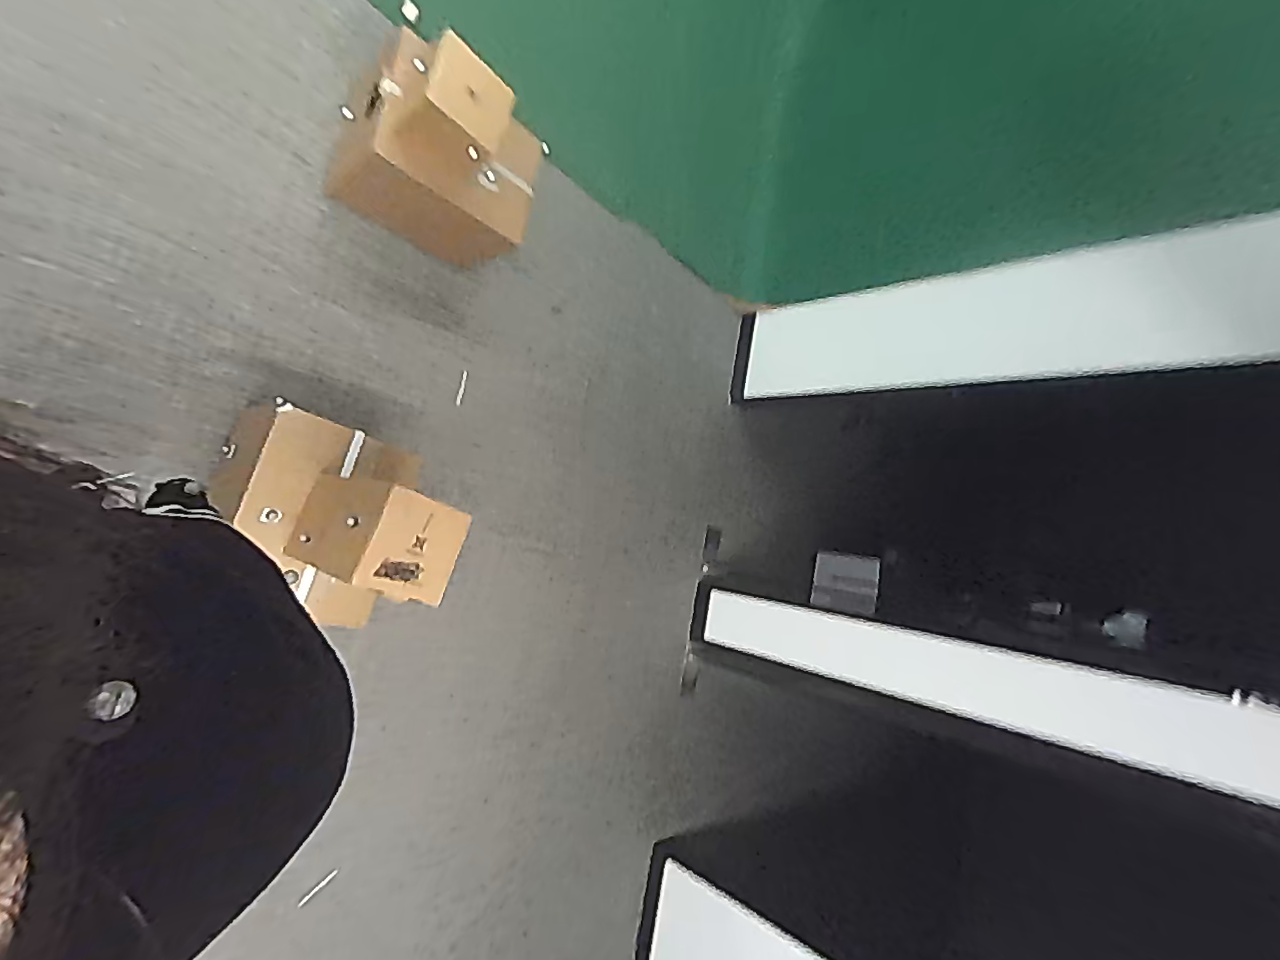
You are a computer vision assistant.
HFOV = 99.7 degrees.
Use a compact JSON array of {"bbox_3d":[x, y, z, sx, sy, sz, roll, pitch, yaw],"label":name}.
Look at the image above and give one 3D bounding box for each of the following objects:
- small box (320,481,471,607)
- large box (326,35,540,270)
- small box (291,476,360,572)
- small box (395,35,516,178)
[{"bbox_3d":[-0.448,0.113,0.984,0.168,0.176,0.179,34,67,-47],"label":"small box"},{"bbox_3d":[-0.538,-0.820,1.431,0.408,0.320,0.320,19,79,-48],"label":"large box"},{"bbox_3d":[-0.570,0.102,1.093,0.168,0.176,0.179,33,68,-47],"label":"small box"},{"bbox_3d":[-0.413,-0.814,1.202,0.179,0.176,0.168,24,76,-48],"label":"small box"}]
